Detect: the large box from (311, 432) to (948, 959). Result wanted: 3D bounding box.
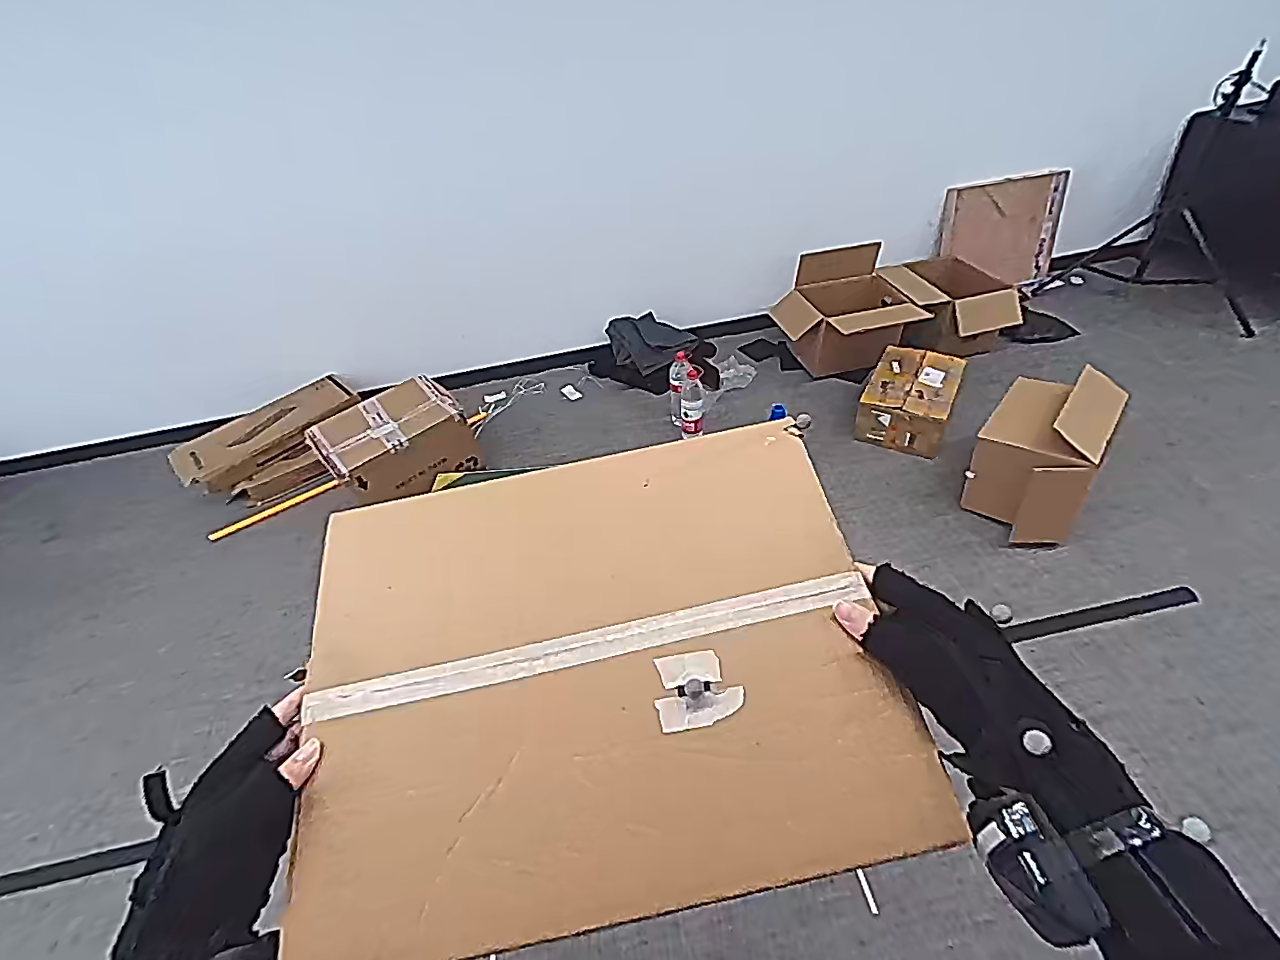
[{"bbox_3d":[-0.021,0.202,0.527,0.408,0.320,0.320,-12,60,-2],"label":"large box"}]
